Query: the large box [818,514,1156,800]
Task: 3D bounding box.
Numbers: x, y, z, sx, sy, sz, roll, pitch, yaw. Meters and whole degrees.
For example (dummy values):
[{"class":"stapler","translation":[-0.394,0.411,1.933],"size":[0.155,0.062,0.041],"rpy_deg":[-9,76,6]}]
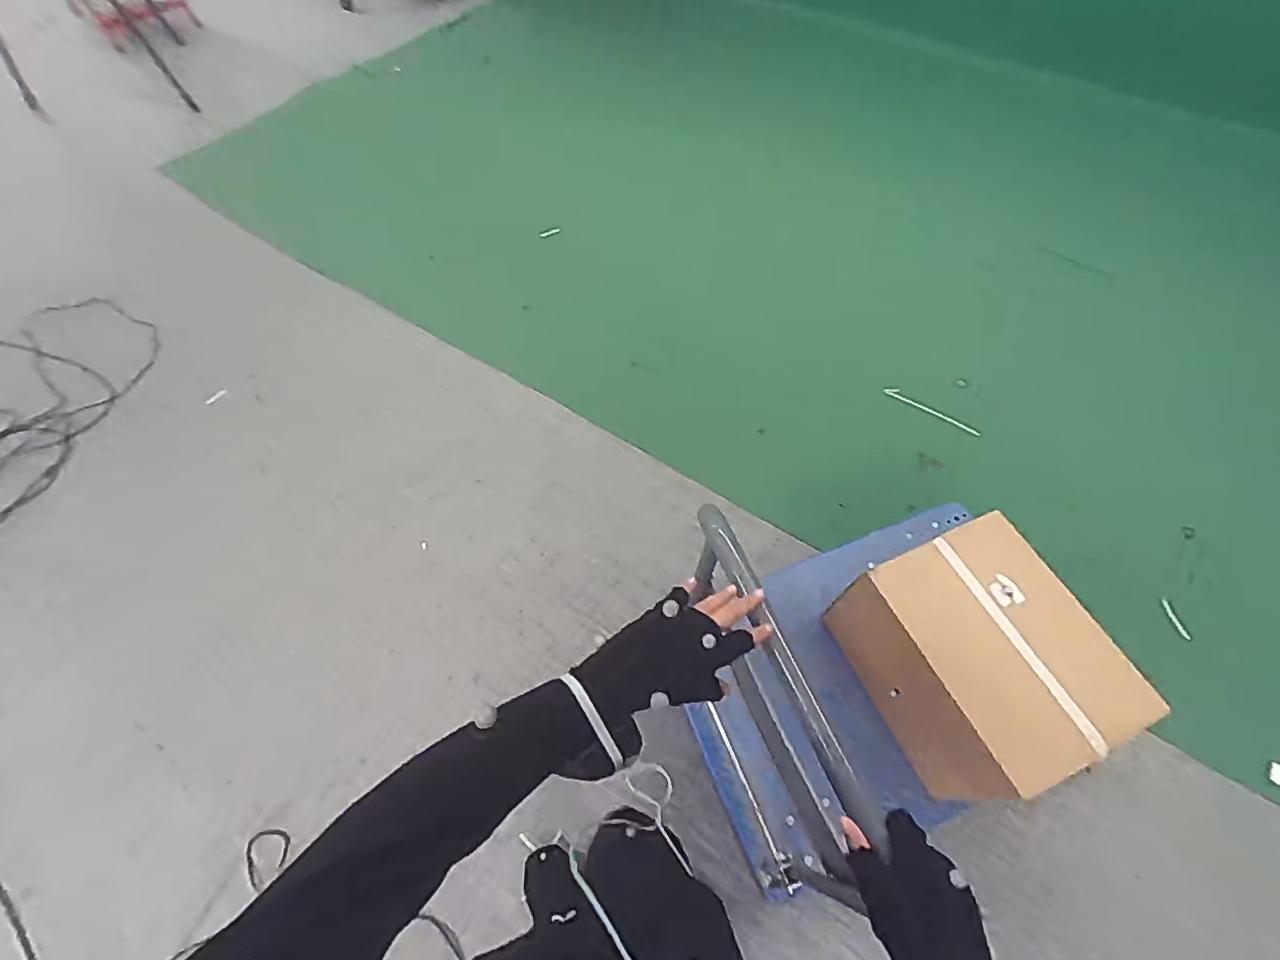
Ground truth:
[{"class":"large box","translation":[0.622,0.349,1.063],"size":[0.320,0.320,0.408],"rpy_deg":[-21,61,-11]}]
